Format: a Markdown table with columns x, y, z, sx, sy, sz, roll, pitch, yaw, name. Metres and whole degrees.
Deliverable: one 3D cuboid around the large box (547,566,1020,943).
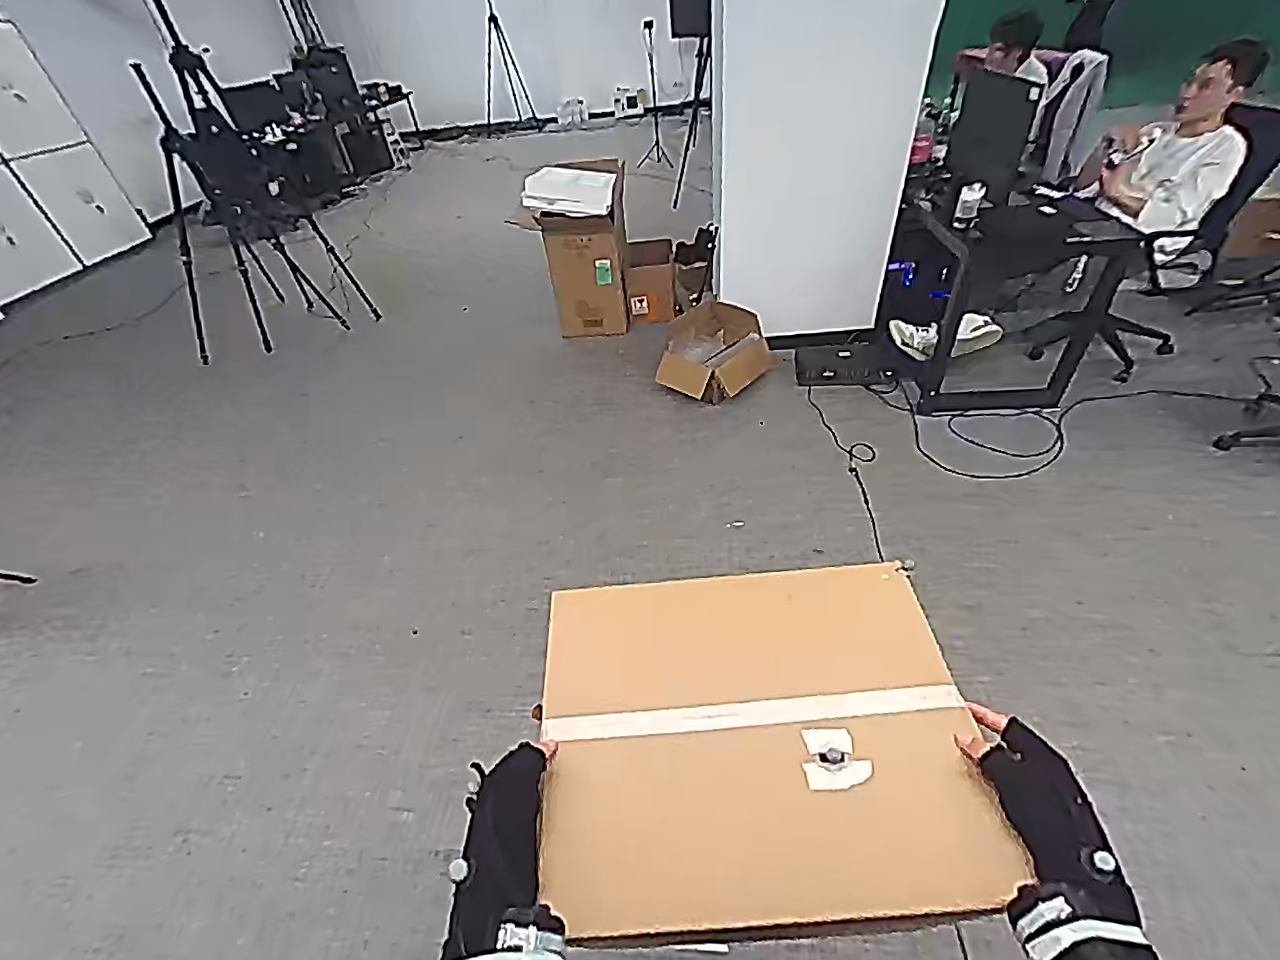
| x | y | z | sx | sy | sz | roll | pitch | yaw | name |
| --- | --- | --- | --- | --- | --- | --- | --- | --- | --- |
| 0.118 | 0.334 | 0.654 | 0.408 | 0.320 | 0.320 | -5 | 48 | 1 | large box |
